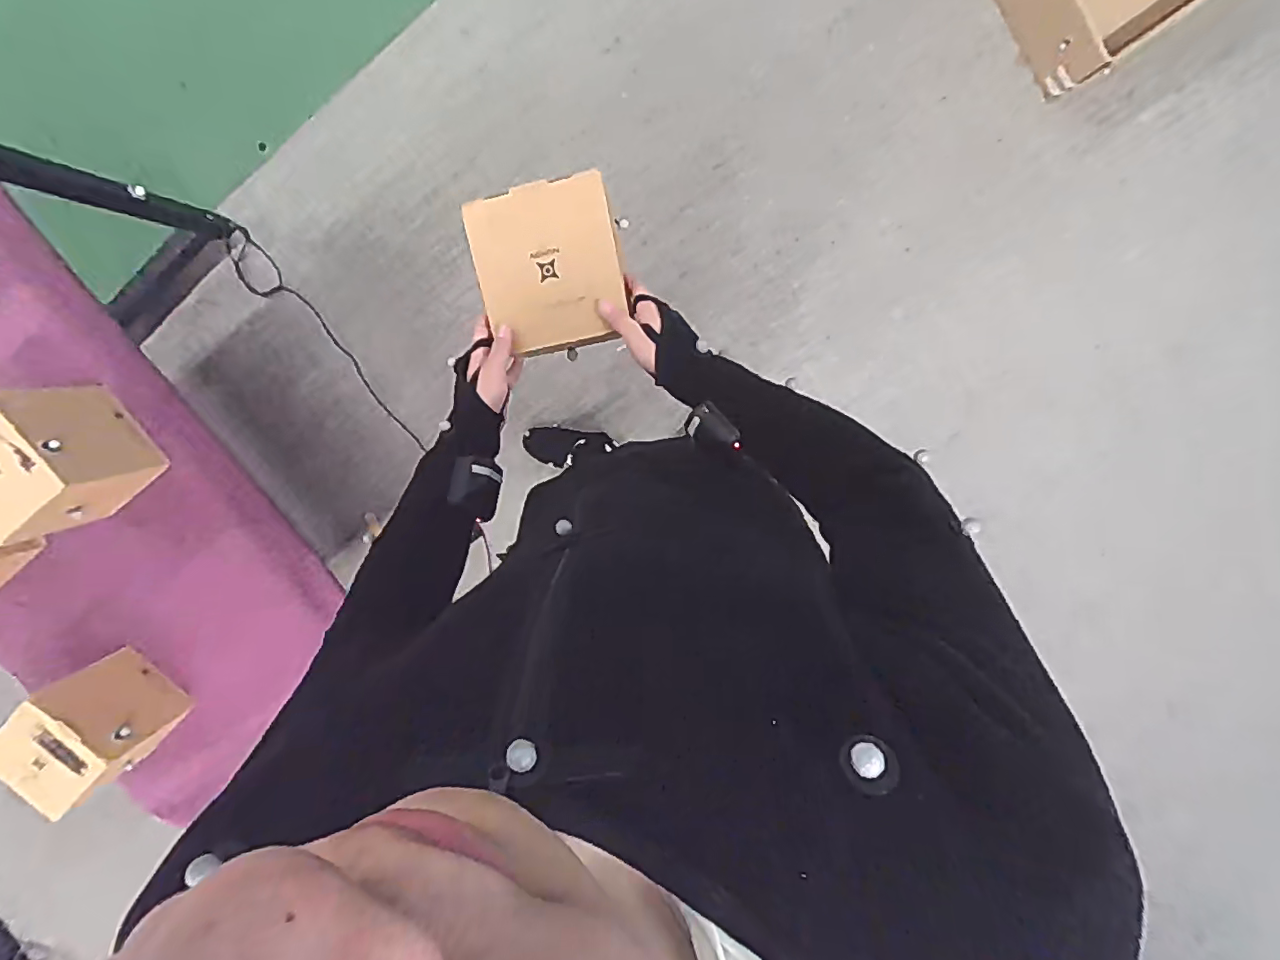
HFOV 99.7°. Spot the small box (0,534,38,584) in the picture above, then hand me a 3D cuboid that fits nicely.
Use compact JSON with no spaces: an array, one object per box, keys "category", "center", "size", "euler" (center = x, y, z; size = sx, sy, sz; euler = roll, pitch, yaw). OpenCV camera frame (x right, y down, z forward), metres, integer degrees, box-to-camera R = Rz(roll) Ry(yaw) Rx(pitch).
[{"category":"small box","center":[-1.200,0.119,0.905],"size":[0.179,0.176,0.168],"euler":[-36,98,9]}]

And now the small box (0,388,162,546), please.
[{"category":"small box","center":[-0.927,-0.027,0.852],"size":[0.179,0.176,0.168],"euler":[-34,99,12]}]
